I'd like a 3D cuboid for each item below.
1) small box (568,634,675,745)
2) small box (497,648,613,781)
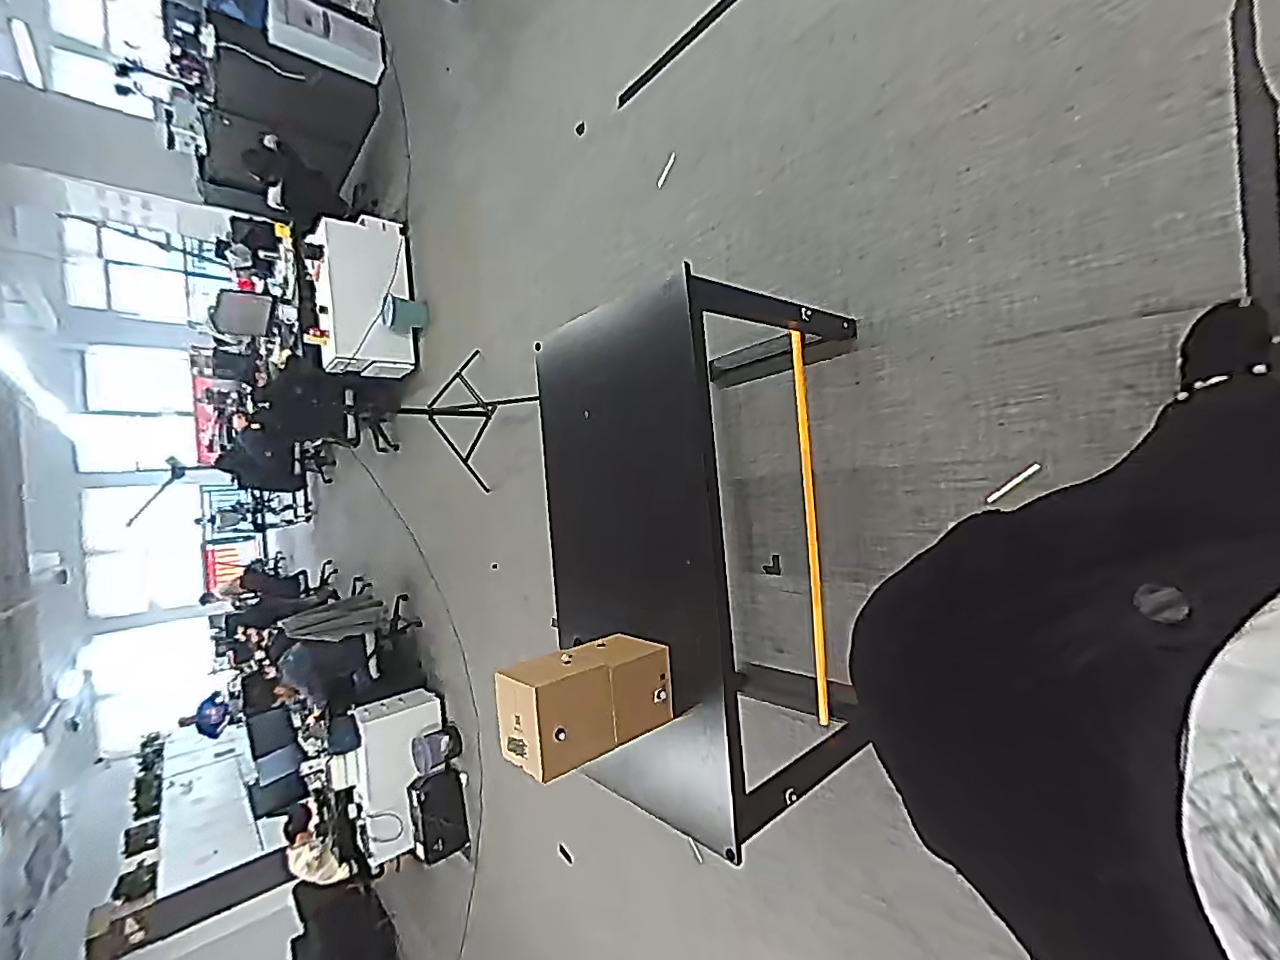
[{"bbox_3d":[-0.044,0.448,1.192,0.179,0.176,0.168,-5,90,49],"label":"small box"},{"bbox_3d":[-0.167,0.457,1.084,0.168,0.176,0.179,-7,88,50],"label":"small box"}]
